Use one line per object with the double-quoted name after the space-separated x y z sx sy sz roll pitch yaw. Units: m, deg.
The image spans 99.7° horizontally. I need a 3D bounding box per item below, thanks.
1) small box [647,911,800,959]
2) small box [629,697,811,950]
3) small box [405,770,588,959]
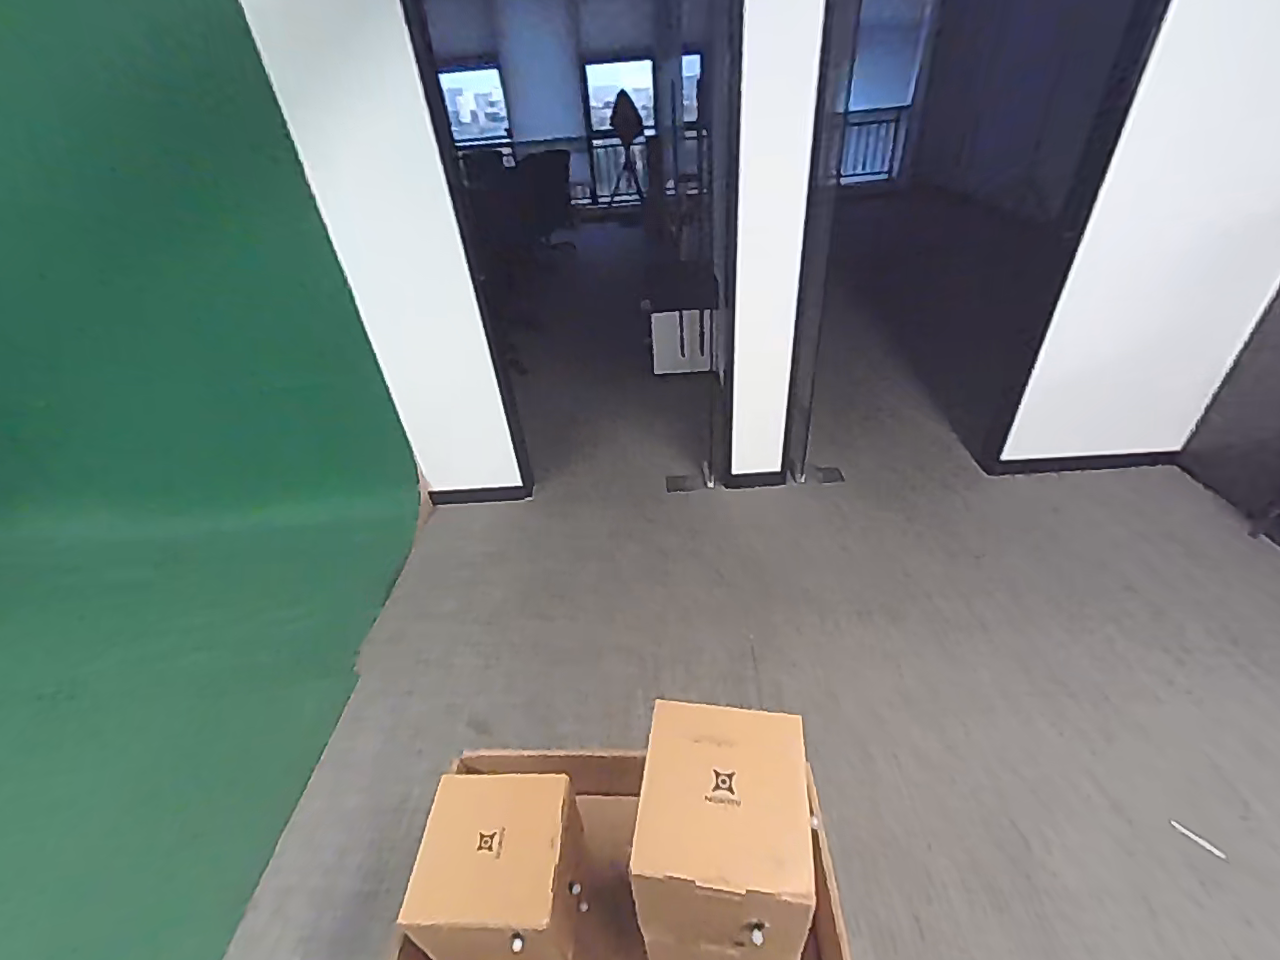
0.108 0.503 0.685 0.168 0.176 0.179 1 37 9 "small box"
0.092 0.370 0.590 0.168 0.176 0.179 2 36 11 "small box"
-0.174 0.511 0.719 0.179 0.176 0.168 -2 36 4 "small box"
